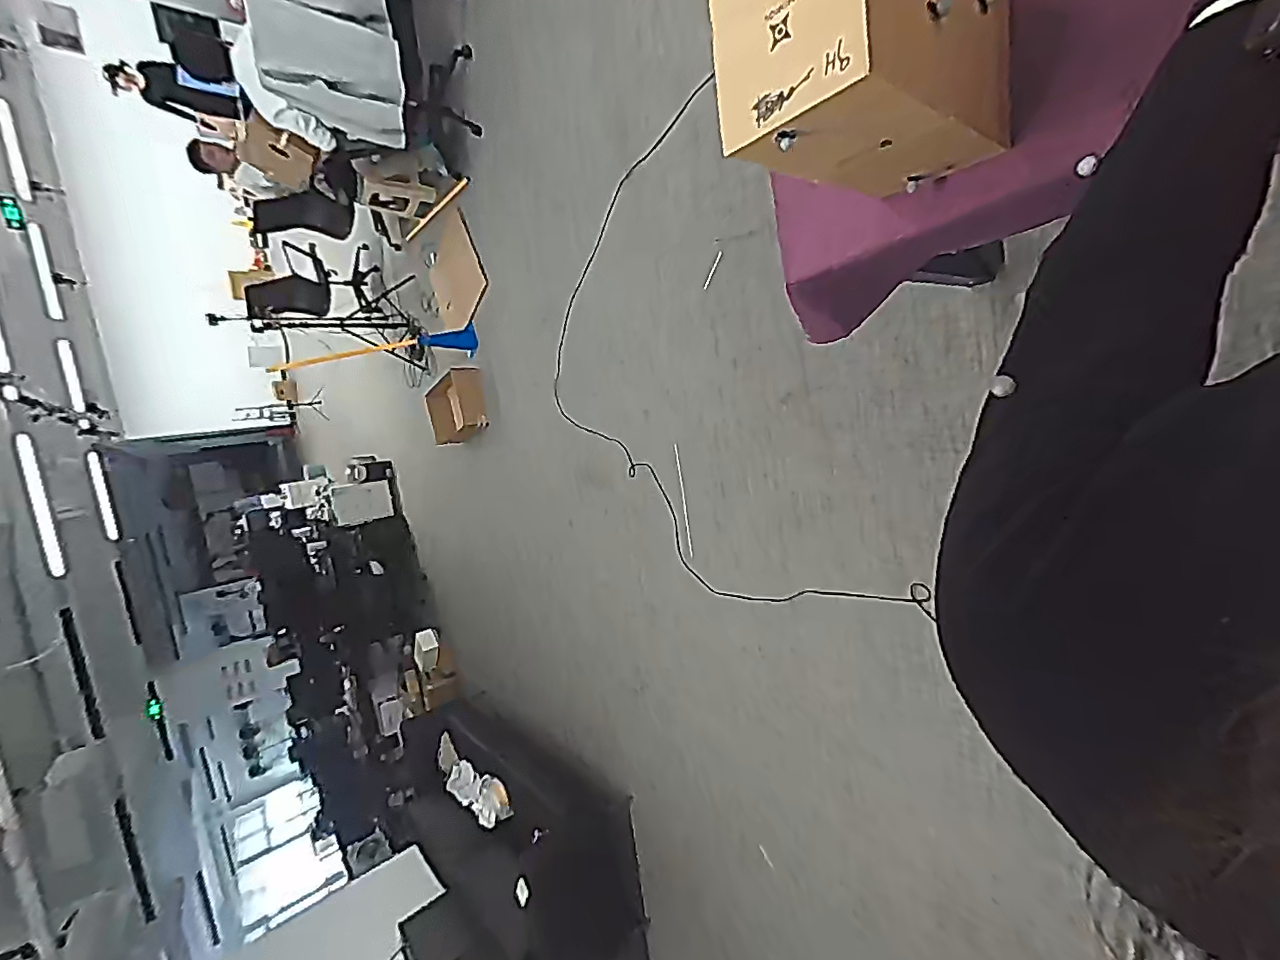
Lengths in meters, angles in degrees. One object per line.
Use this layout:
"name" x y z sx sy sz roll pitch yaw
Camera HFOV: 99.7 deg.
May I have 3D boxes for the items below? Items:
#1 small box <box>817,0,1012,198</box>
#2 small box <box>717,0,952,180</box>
"small box" 0.329 -0.471 0.657 0.168 0.176 0.179 4 104 52
"small box" 0.200 -0.442 0.557 0.168 0.176 0.179 4 102 53
